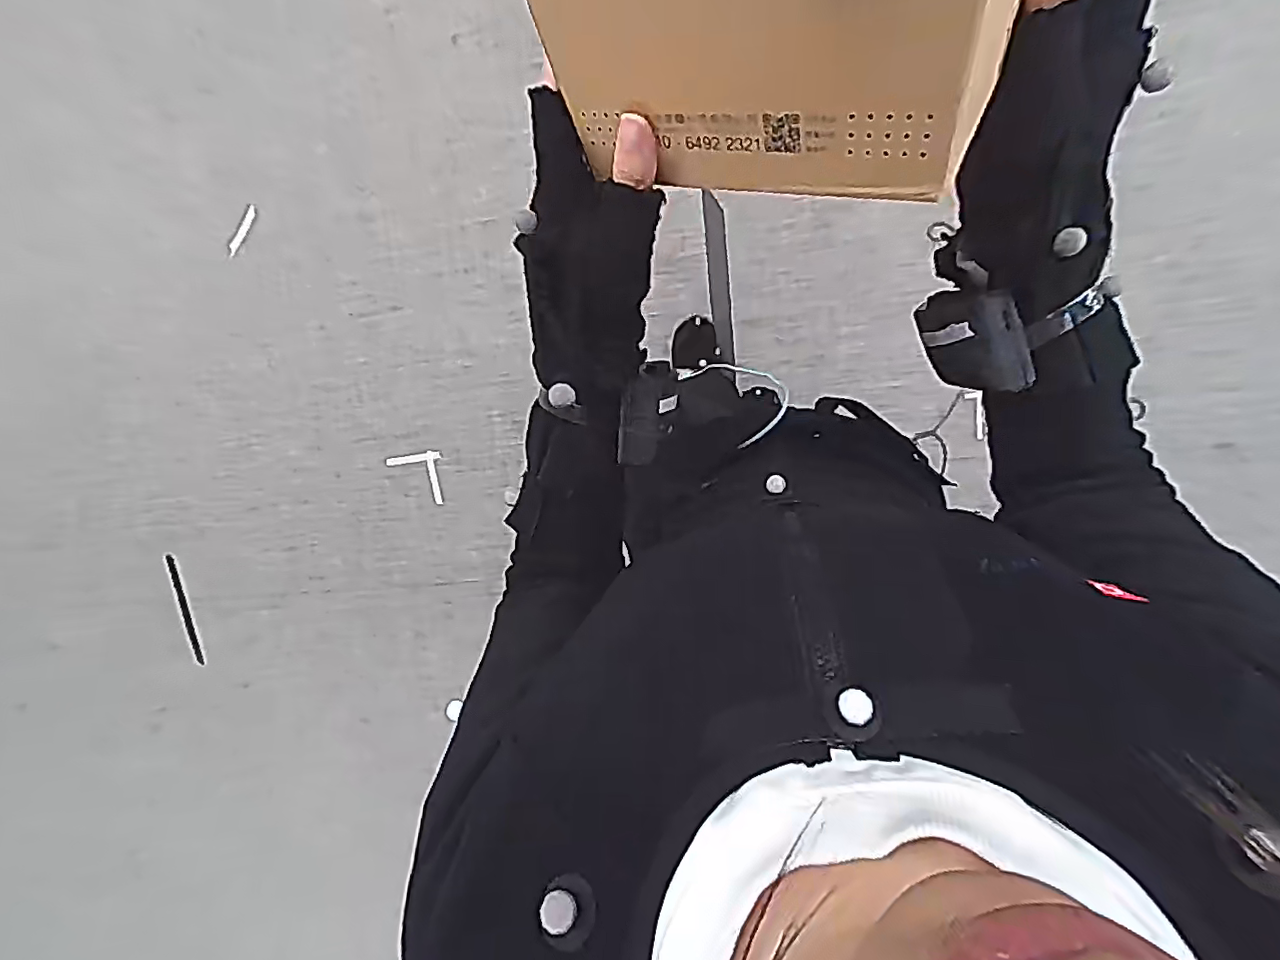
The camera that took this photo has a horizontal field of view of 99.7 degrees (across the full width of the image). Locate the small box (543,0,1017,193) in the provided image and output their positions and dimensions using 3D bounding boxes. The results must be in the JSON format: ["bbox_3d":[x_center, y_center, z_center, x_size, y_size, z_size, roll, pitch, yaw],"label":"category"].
[{"bbox_3d":[0.063,-0.245,0.216,0.168,0.176,0.179,22,70,28],"label":"small box"}]
